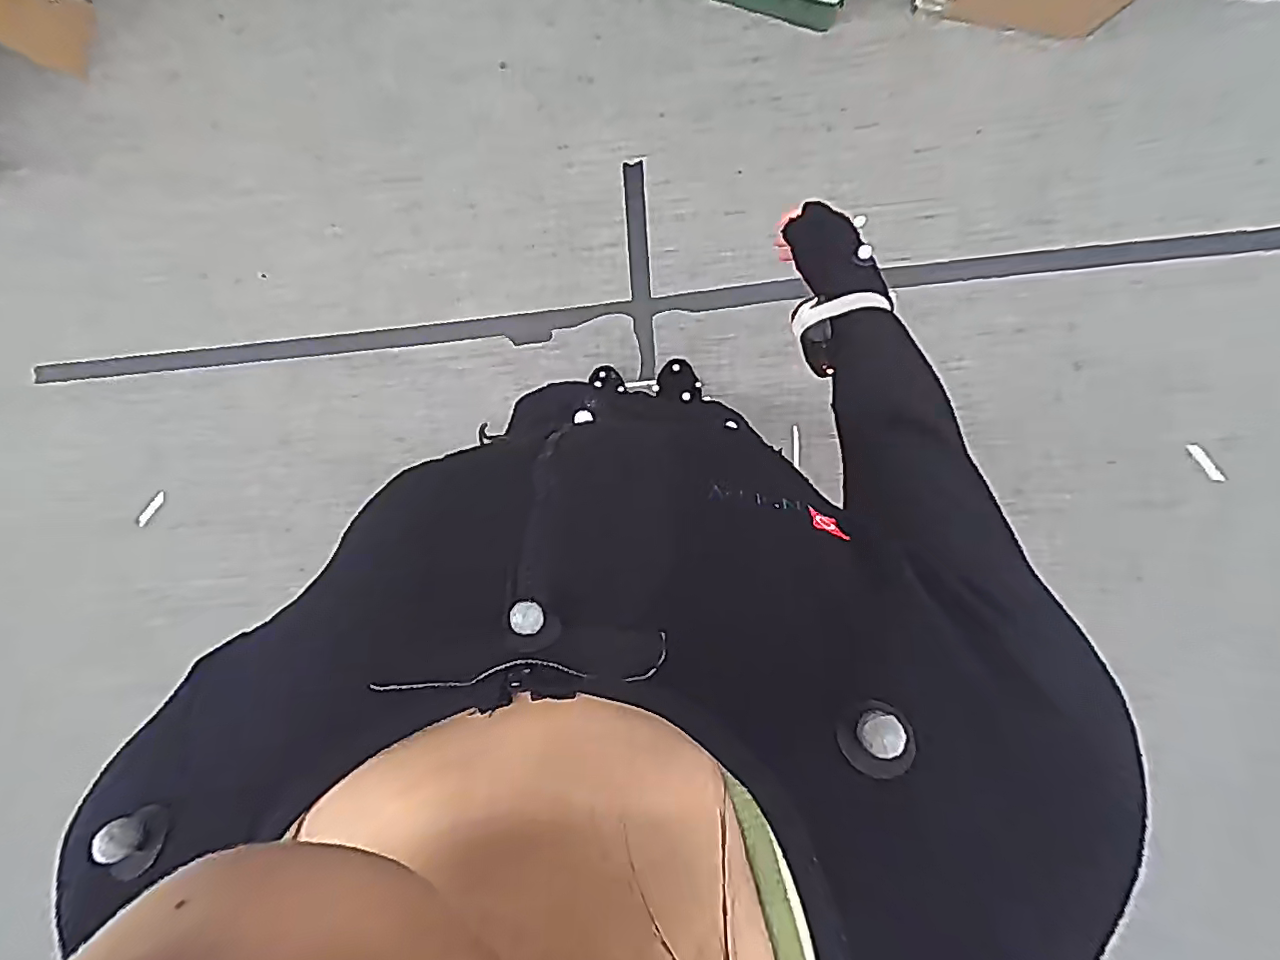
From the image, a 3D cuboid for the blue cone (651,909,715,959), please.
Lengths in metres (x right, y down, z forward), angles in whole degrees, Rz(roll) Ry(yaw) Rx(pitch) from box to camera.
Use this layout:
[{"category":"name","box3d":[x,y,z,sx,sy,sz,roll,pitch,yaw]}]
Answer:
[{"category":"blue cone","box3d":[0.133,1.511,1.596,0.192,0.380,0.193,-9,102,6]}]
